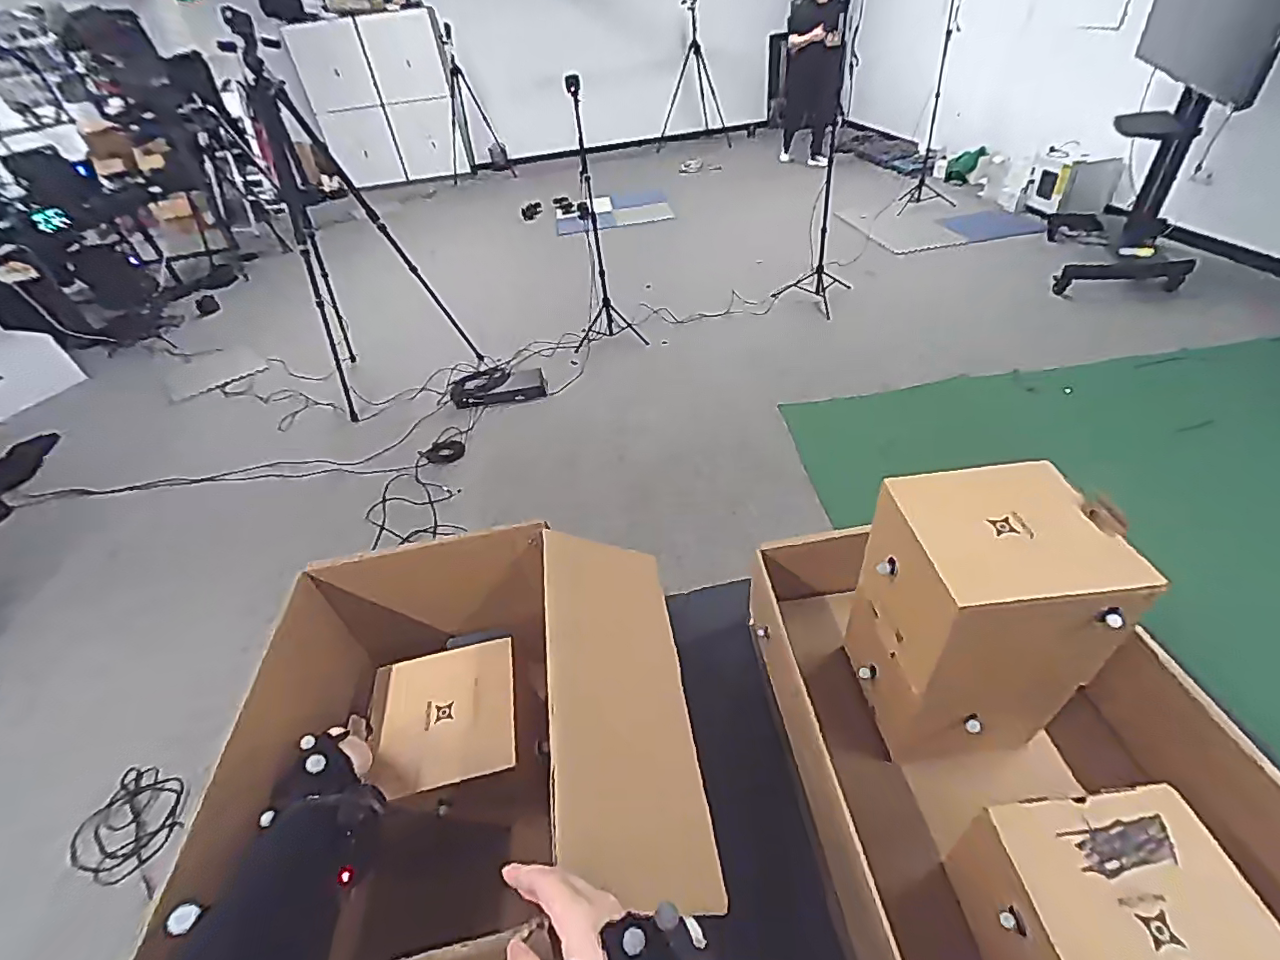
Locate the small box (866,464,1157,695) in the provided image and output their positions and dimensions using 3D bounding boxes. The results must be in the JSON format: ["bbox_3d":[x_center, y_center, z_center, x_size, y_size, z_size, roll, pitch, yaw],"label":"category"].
[{"bbox_3d":[0.353,0.106,0.565,0.179,0.176,0.168,-7,42,1],"label":"small box"}]
